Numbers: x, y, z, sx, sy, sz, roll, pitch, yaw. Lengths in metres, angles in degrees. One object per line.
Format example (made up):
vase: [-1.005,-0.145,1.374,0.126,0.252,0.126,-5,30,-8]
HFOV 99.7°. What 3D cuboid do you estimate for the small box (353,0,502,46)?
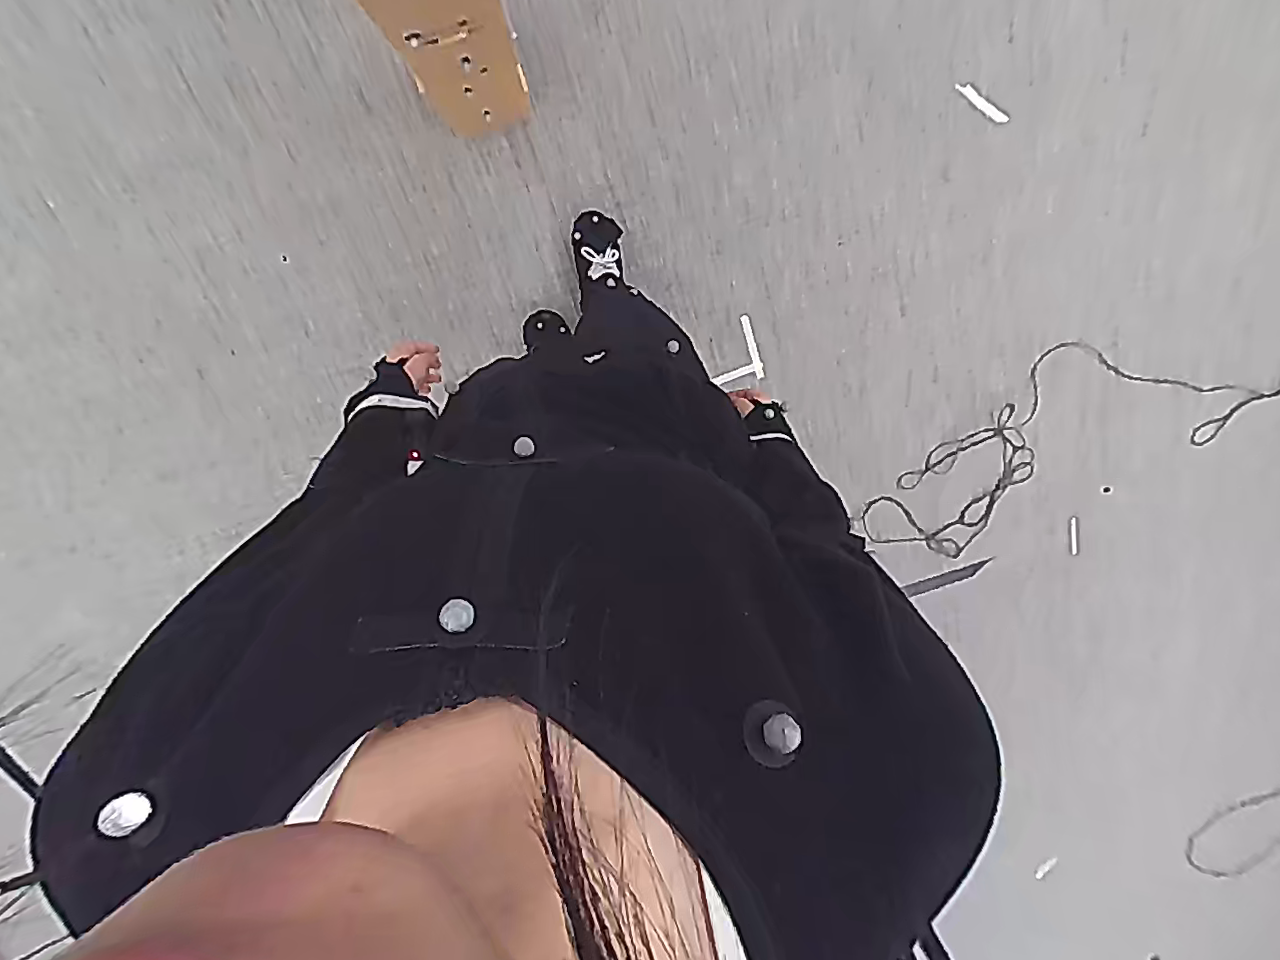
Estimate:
small box: [-0.282,-0.673,0.660,0.168,0.176,0.179,-18,109,0]

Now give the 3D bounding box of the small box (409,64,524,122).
small box: [-0.322,-0.774,0.970,0.179,0.176,0.168,-16,111,-1]

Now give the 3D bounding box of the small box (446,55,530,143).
small box: [-0.335,-0.833,1.123,0.179,0.176,0.168,-19,110,0]

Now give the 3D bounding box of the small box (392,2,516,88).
small box: [-0.296,-0.726,0.815,0.168,0.176,0.179,-17,111,-1]
